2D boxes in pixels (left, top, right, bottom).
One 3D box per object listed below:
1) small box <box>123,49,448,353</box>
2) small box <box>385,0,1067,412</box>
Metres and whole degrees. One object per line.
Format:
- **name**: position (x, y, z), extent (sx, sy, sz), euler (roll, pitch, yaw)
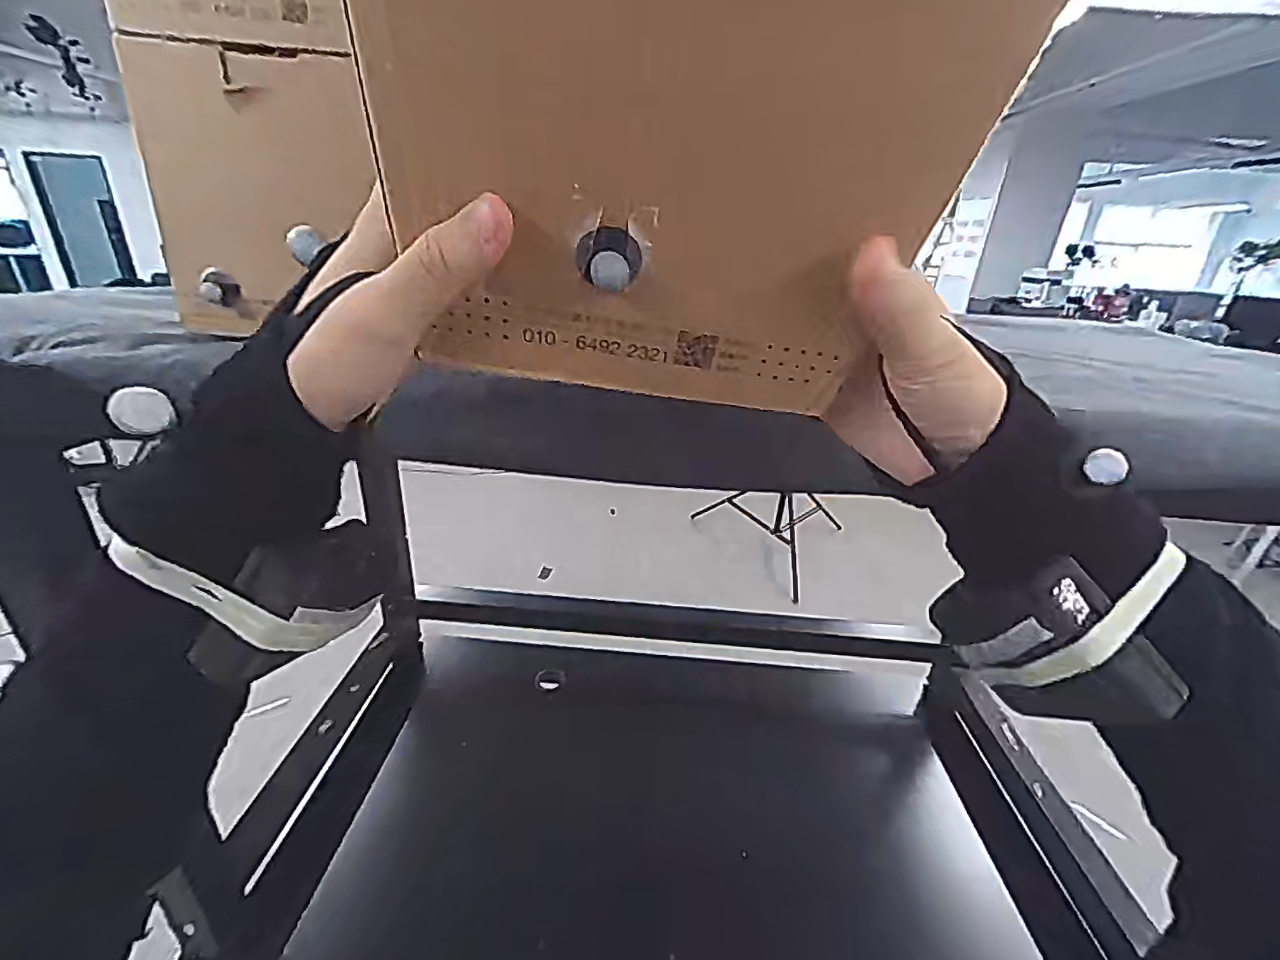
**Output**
- **small box**: position (-0.221, -0.197, 0.418), extent (0.168, 0.176, 0.179), euler (4, 22, -2)
- **small box**: position (0.010, -0.153, 0.208), extent (0.168, 0.176, 0.179), euler (6, 51, -7)
